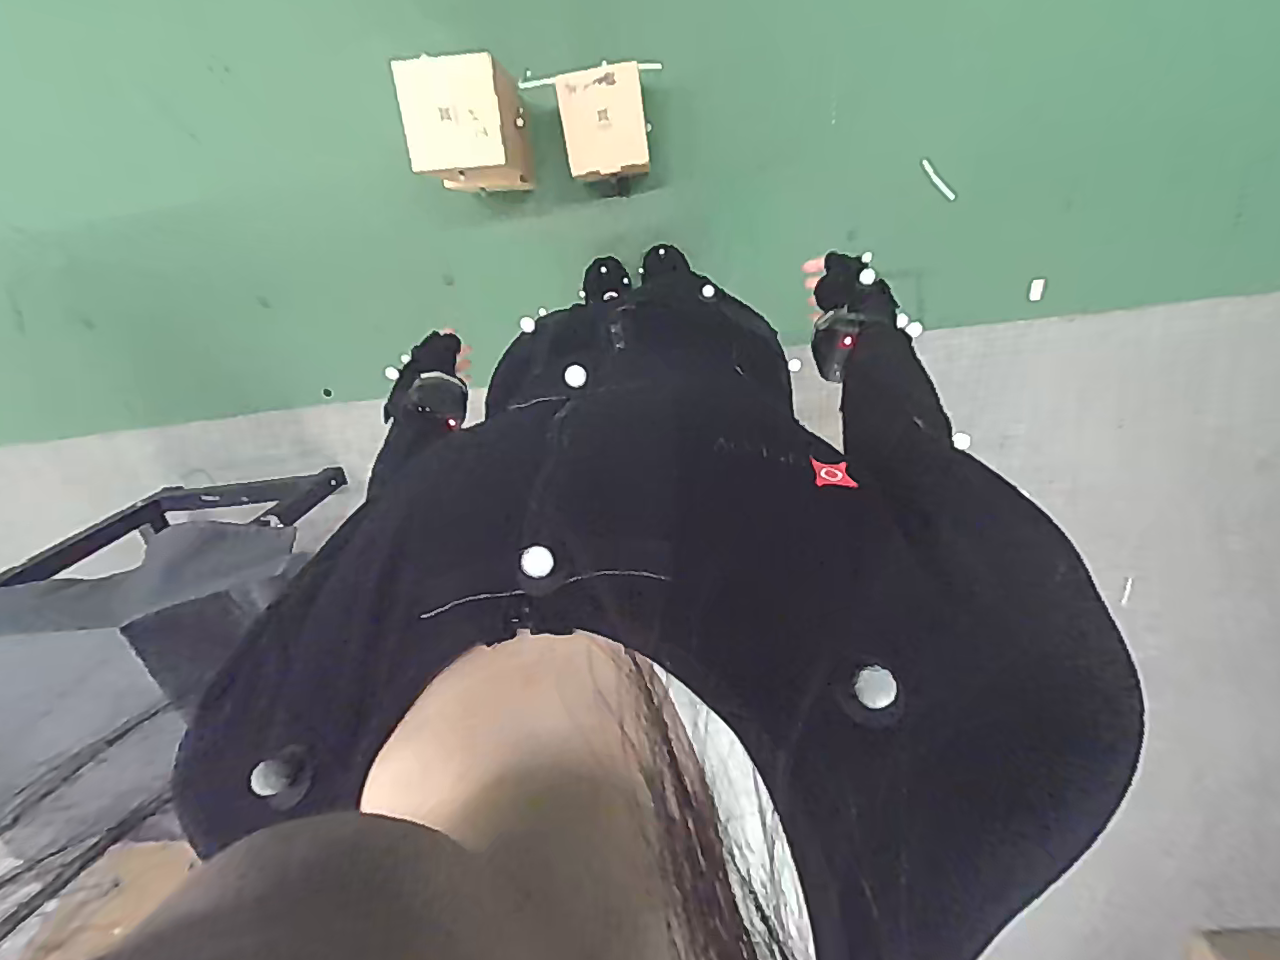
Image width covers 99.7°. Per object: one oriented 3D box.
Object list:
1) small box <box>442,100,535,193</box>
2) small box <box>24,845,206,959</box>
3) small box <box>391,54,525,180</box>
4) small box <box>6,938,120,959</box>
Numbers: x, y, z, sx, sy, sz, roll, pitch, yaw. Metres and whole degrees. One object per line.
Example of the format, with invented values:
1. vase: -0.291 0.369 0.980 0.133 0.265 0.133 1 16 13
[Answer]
1. small box: -0.331 -0.725 1.168 0.168 0.176 0.179 -1 113 3
2. small box: -1.068 0.890 1.117 0.179 0.176 0.168 -6 114 4
3. small box: -0.329 -0.668 1.013 0.179 0.176 0.168 -2 114 3
4. small box: -1.076 0.961 0.970 0.168 0.176 0.179 -7 114 6
